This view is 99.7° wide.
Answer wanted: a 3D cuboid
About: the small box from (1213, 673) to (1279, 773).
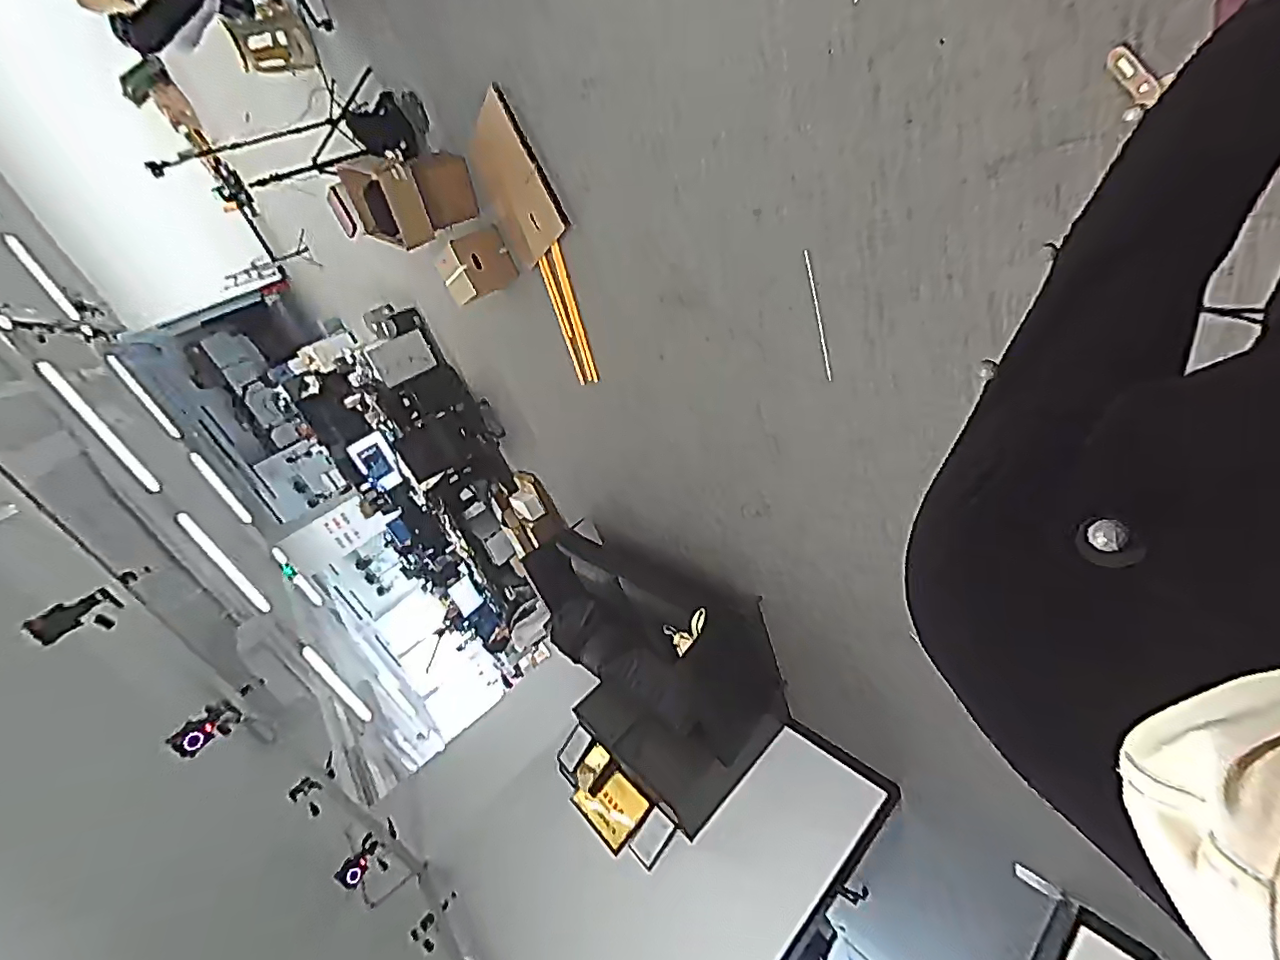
[{"bbox_3d":[1.714,0.661,1.461,0.179,0.176,0.168,22,141,49],"label":"small box"}]
